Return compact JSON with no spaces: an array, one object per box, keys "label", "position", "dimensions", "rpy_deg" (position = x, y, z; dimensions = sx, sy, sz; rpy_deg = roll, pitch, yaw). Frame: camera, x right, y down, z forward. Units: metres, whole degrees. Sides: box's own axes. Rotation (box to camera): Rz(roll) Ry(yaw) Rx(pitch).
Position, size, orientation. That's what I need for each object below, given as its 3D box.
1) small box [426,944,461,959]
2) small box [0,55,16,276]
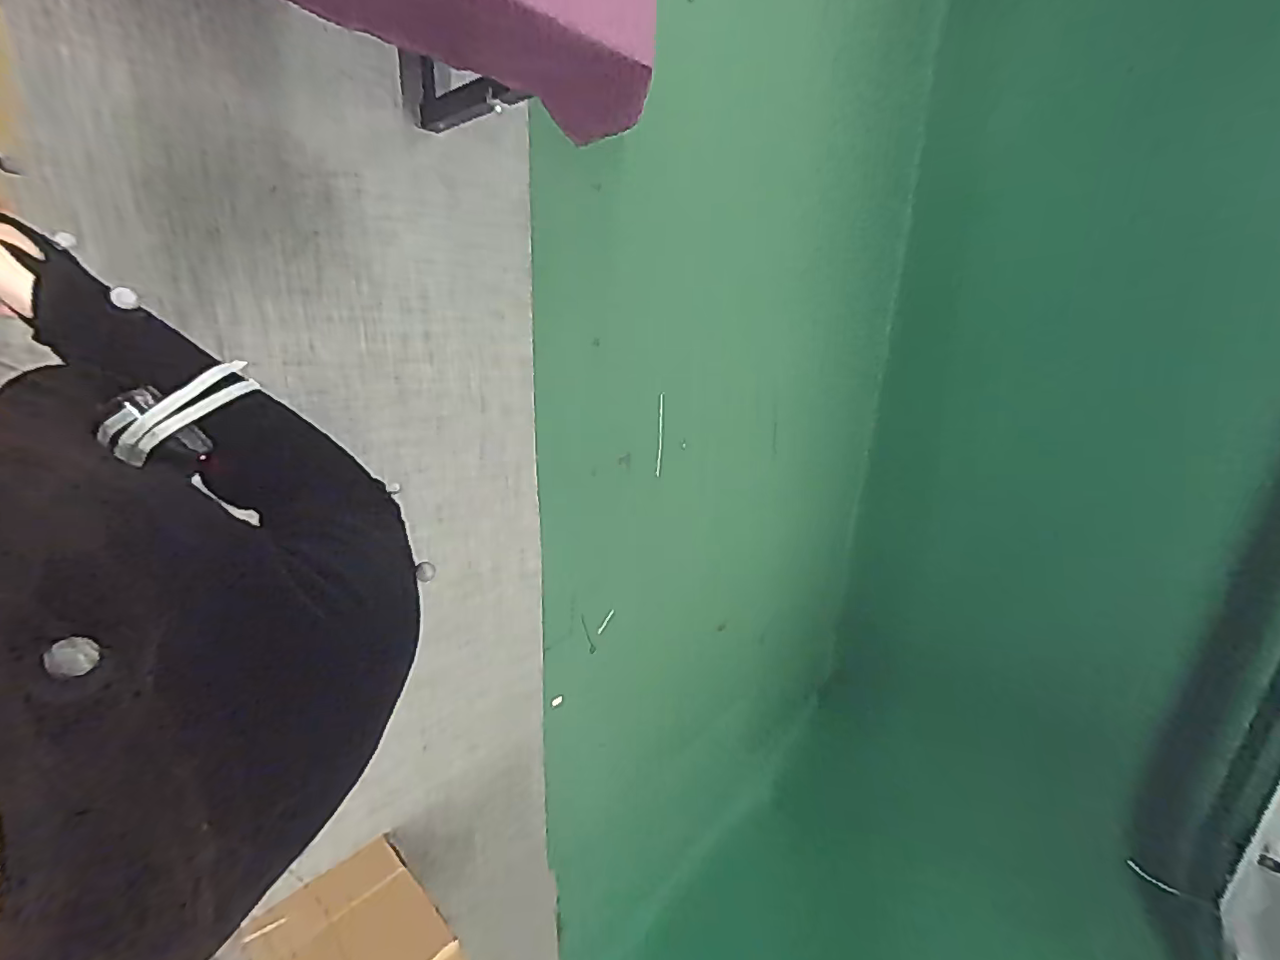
[{"label":"small box","position":[-0.531,1.399,1.425],"dimensions":[0.168,0.176,0.179],"rpy_deg":[-16,114,-44]},{"label":"small box","position":[-0.547,-0.243,0.356],"dimensions":[0.168,0.176,0.179],"rpy_deg":[4,96,-47]}]
